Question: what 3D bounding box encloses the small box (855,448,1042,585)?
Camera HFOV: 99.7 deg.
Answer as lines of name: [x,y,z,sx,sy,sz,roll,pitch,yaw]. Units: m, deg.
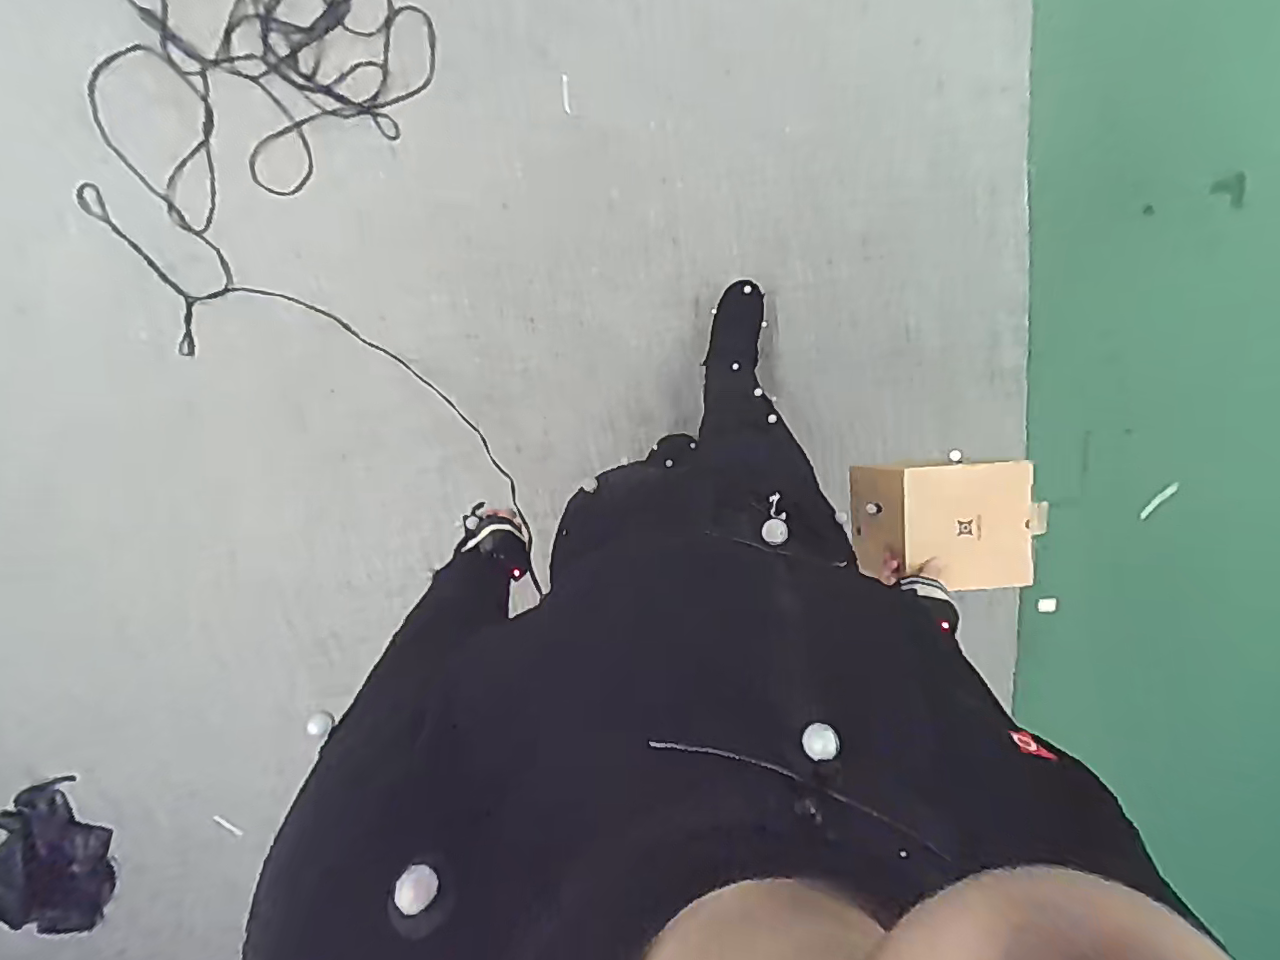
small box: [0.420,0.045,0.766,0.179,0.176,0.168,-5,93,-3]
